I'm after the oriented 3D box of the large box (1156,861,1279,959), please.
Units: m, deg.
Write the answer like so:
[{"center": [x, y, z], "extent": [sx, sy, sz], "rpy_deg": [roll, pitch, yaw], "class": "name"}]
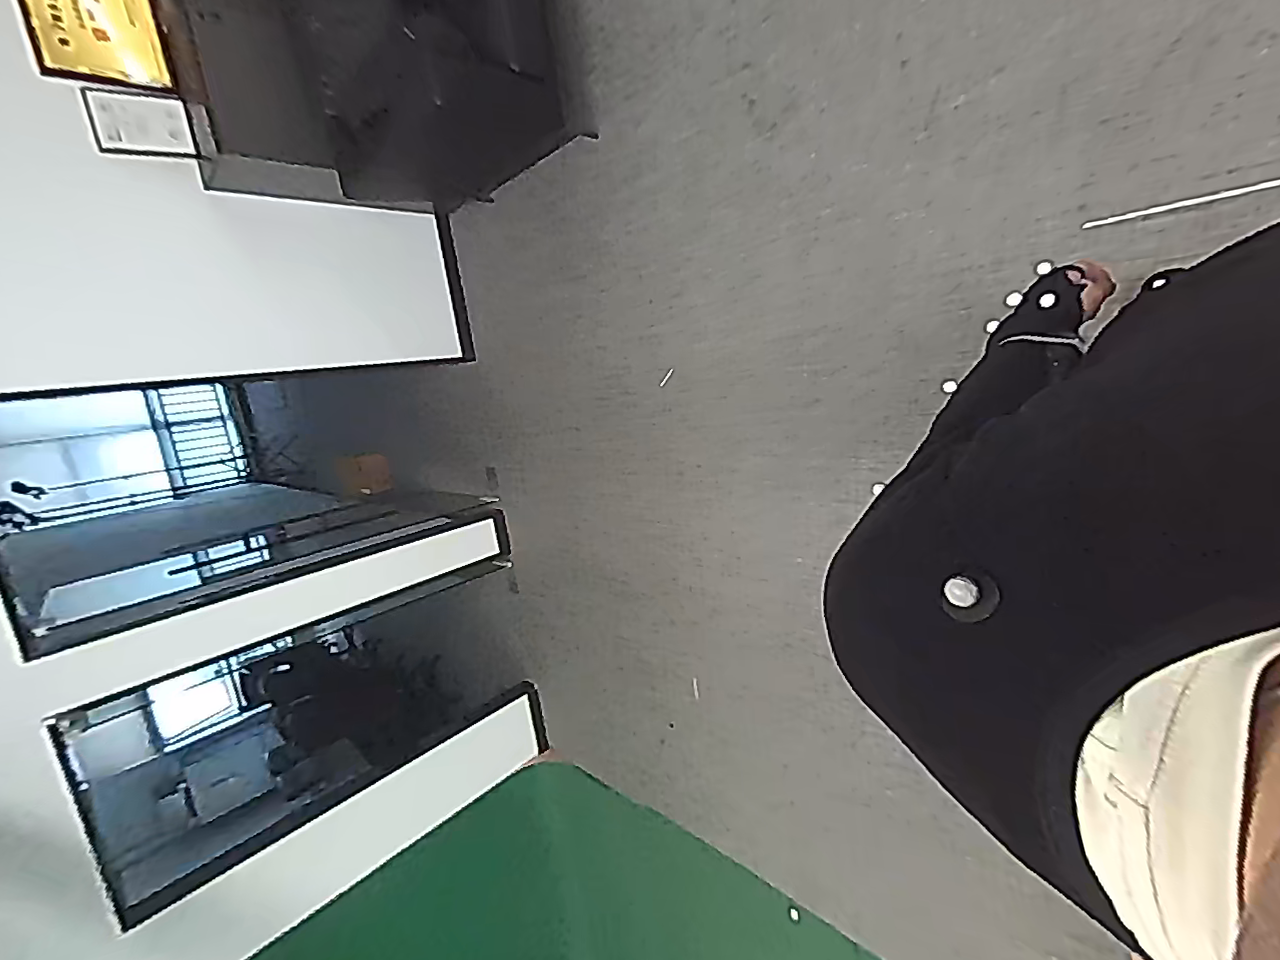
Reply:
[{"center": [1.394, 1.142, 1.156], "extent": [0.408, 0.320, 0.320], "rpy_deg": [1, 103, 47], "class": "large box"}]
